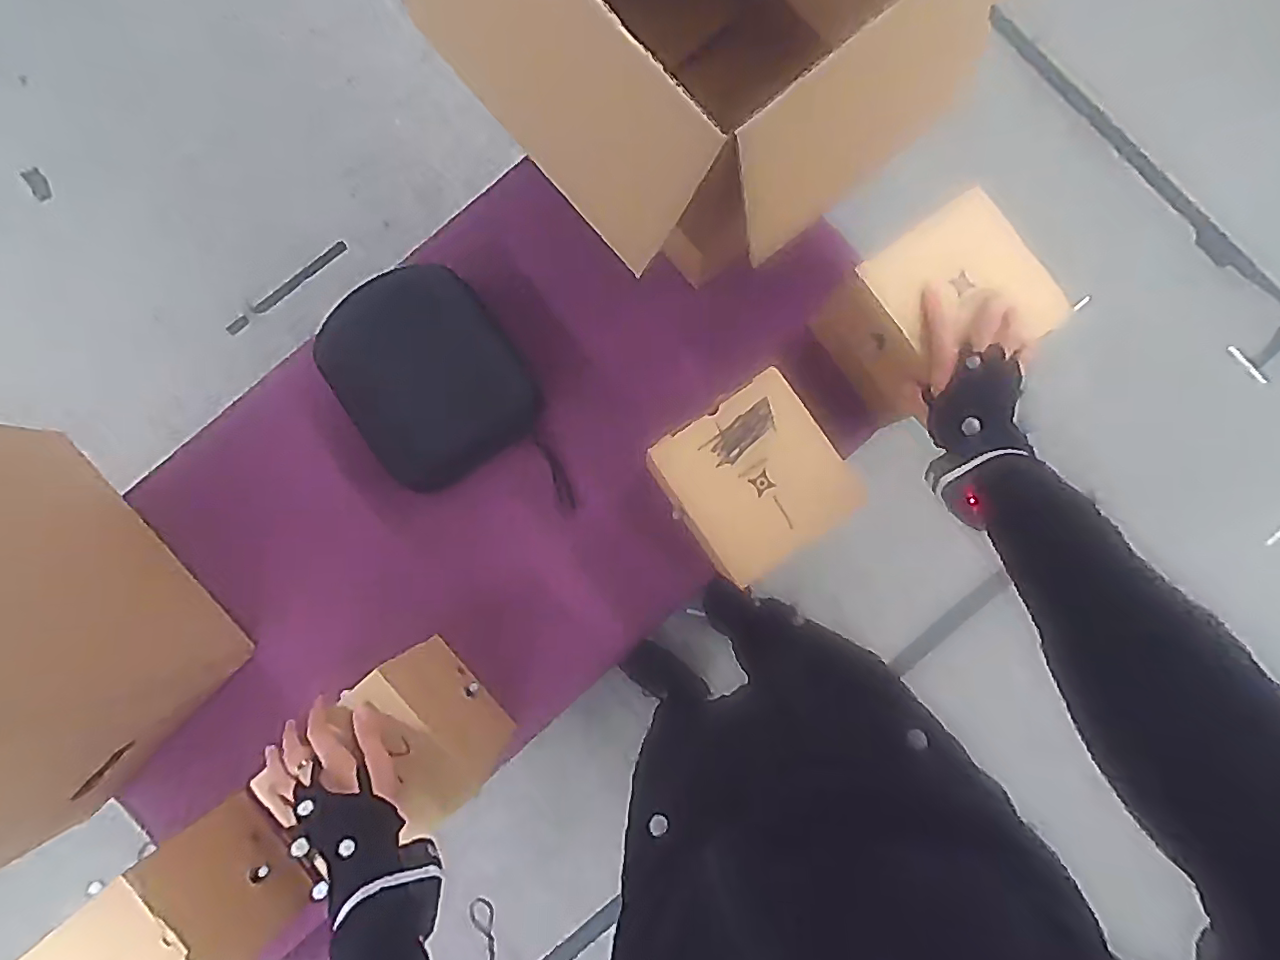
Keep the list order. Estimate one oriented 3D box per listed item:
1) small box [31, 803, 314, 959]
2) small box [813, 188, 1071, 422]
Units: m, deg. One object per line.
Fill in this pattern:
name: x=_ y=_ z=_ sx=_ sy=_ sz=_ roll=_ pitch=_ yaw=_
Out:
small box: x=-0.529 y=0.527 z=0.620 sx=0.179 sy=0.176 sz=0.168 roll=-40 pitch=86 yaw=-3
small box: x=0.337 y=-0.192 z=0.647 sx=0.168 sy=0.176 sz=0.179 roll=-35 pitch=86 yaw=-1
